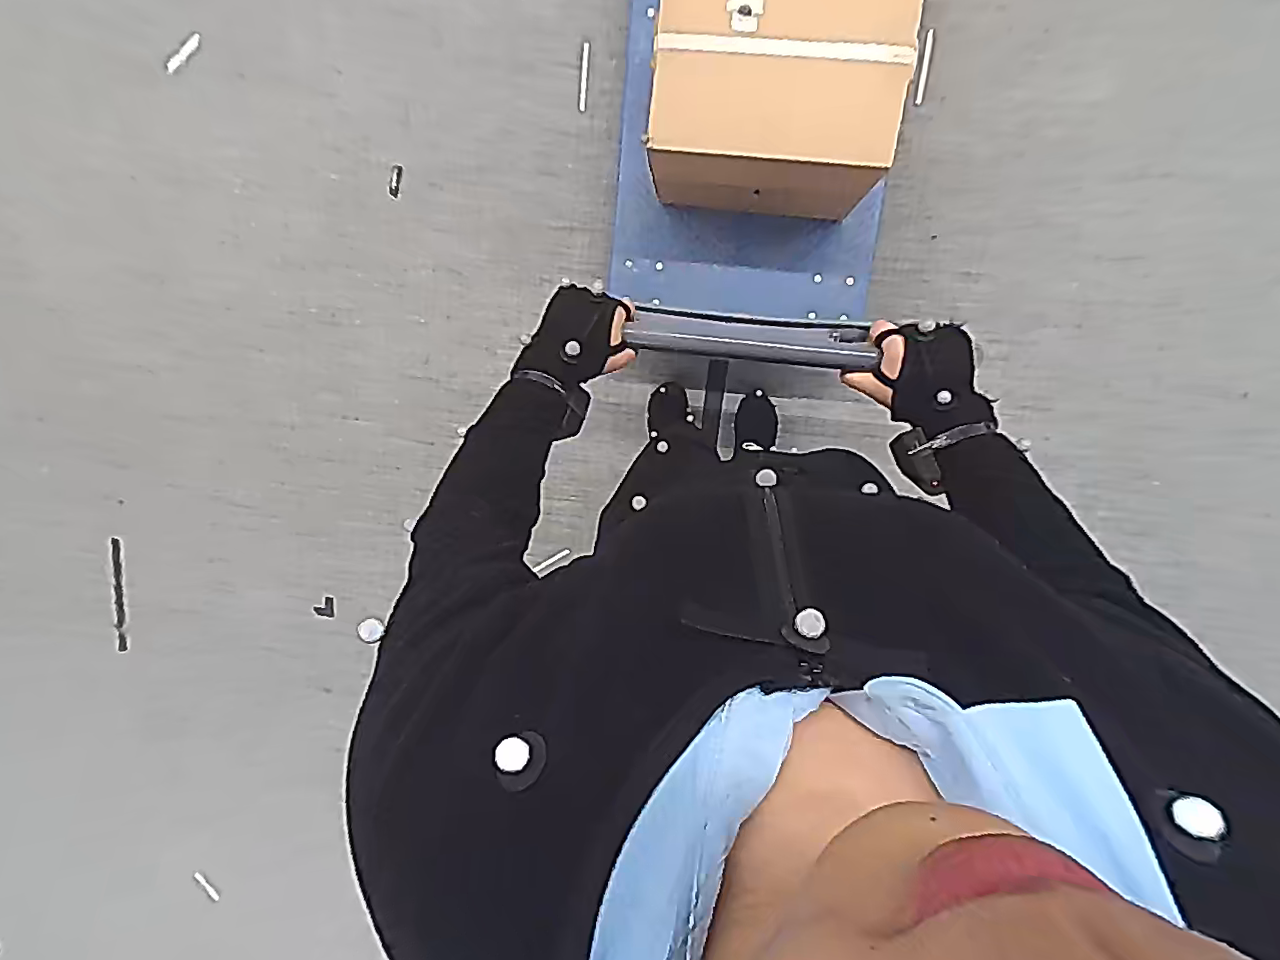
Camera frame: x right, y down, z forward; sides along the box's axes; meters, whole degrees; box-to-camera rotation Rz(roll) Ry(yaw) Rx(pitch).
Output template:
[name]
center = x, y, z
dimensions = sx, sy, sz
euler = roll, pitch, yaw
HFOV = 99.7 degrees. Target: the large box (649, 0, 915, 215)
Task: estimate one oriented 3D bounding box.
[large box]
center = 0.245, -0.714, 1.021
dimensions = 0.408, 0.320, 0.320
euler = 7, 101, 6
